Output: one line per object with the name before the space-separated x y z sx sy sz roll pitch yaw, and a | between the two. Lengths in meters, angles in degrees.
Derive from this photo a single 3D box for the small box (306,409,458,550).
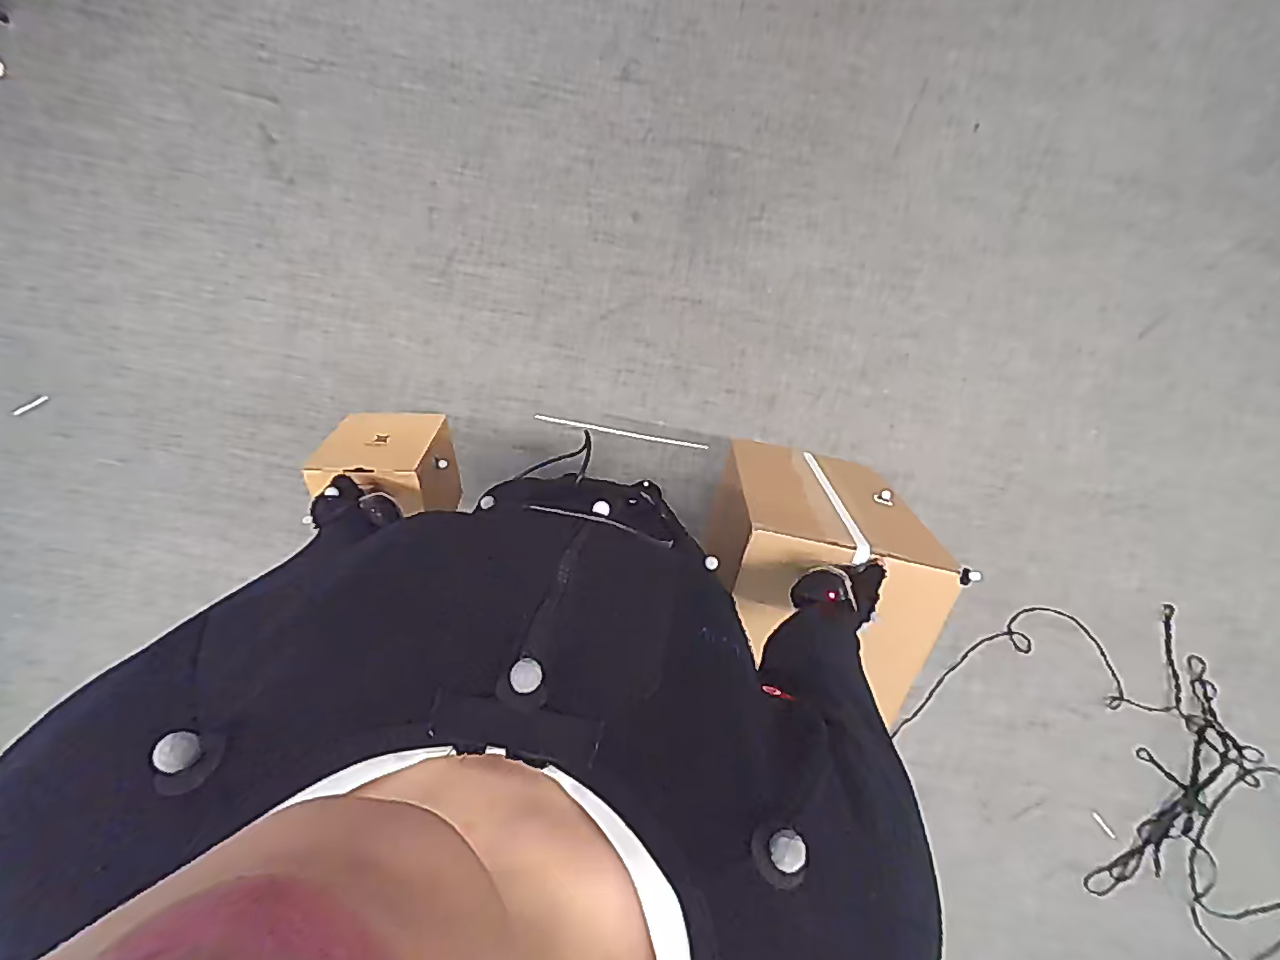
small box | -0.413 -0.003 0.904 0.168 0.179 0.176 0 126 -2
